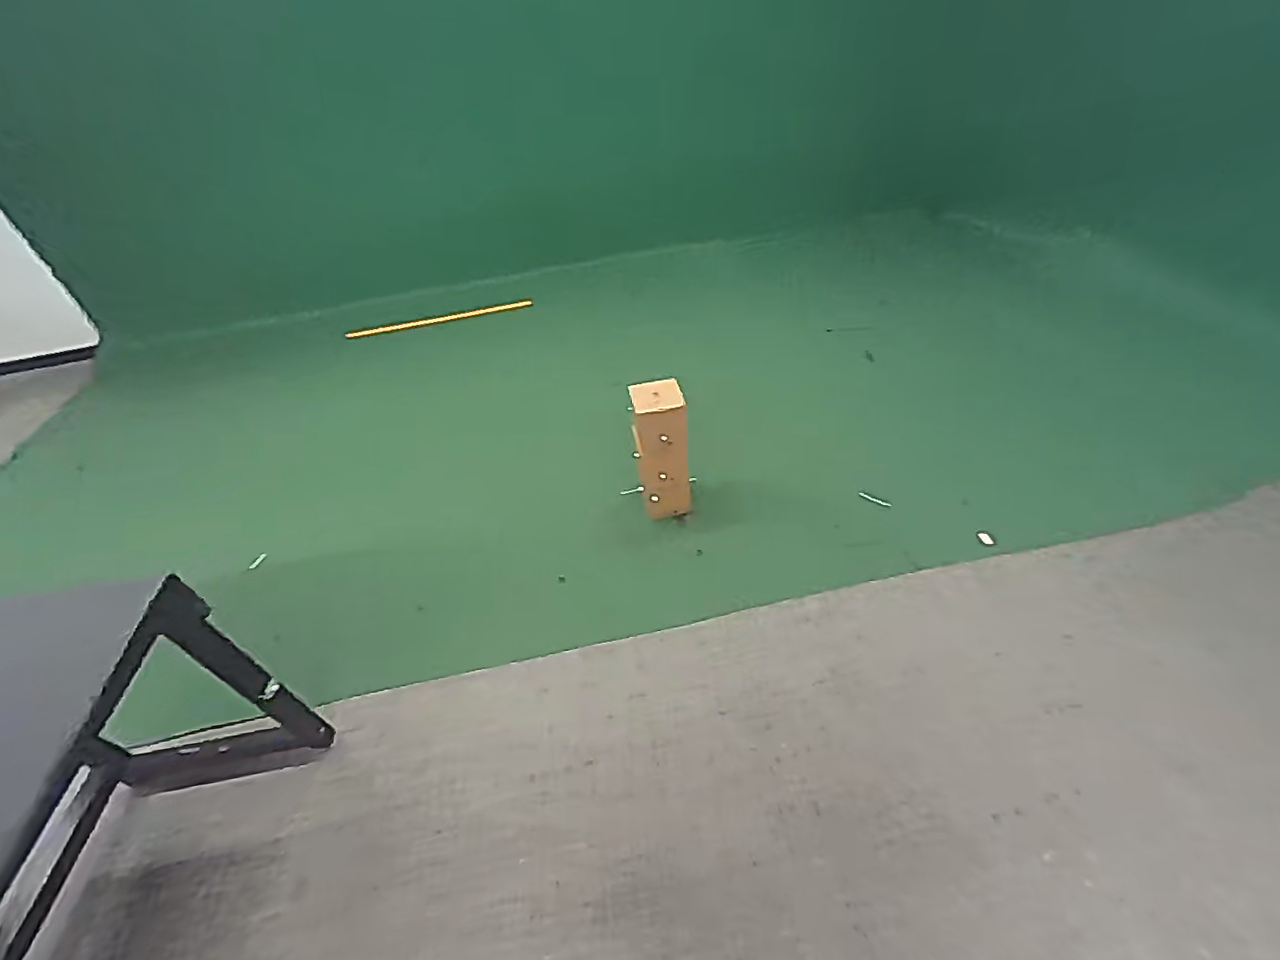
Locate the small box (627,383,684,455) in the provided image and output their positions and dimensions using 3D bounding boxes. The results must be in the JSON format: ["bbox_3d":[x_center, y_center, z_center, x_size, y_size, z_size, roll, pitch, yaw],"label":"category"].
[{"bbox_3d":[0.053,-0.209,1.864,0.168,0.176,0.179,-10,42,-4],"label":"small box"}]

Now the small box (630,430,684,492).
[{"bbox_3d":[0.061,-0.081,1.969,0.168,0.176,0.179,-11,42,-5],"label":"small box"}]
